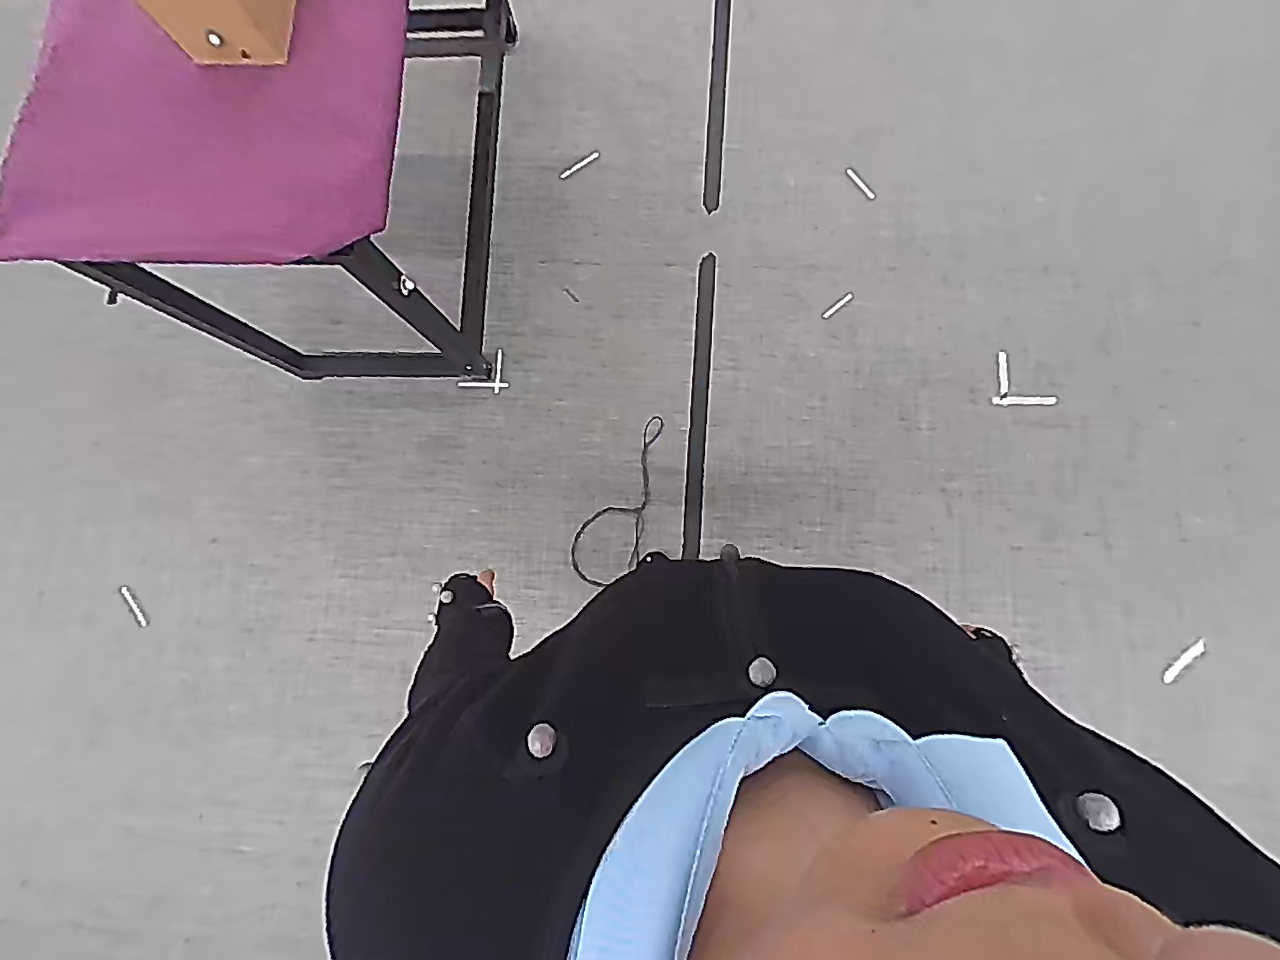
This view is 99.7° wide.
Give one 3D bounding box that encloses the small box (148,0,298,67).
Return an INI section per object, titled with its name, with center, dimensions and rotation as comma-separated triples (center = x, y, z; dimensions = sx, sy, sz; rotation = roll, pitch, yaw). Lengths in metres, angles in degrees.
[small box]
center = -0.685, -0.816, 0.868
dimensions = 0.168, 0.176, 0.179
rotation = 3, 83, 4
